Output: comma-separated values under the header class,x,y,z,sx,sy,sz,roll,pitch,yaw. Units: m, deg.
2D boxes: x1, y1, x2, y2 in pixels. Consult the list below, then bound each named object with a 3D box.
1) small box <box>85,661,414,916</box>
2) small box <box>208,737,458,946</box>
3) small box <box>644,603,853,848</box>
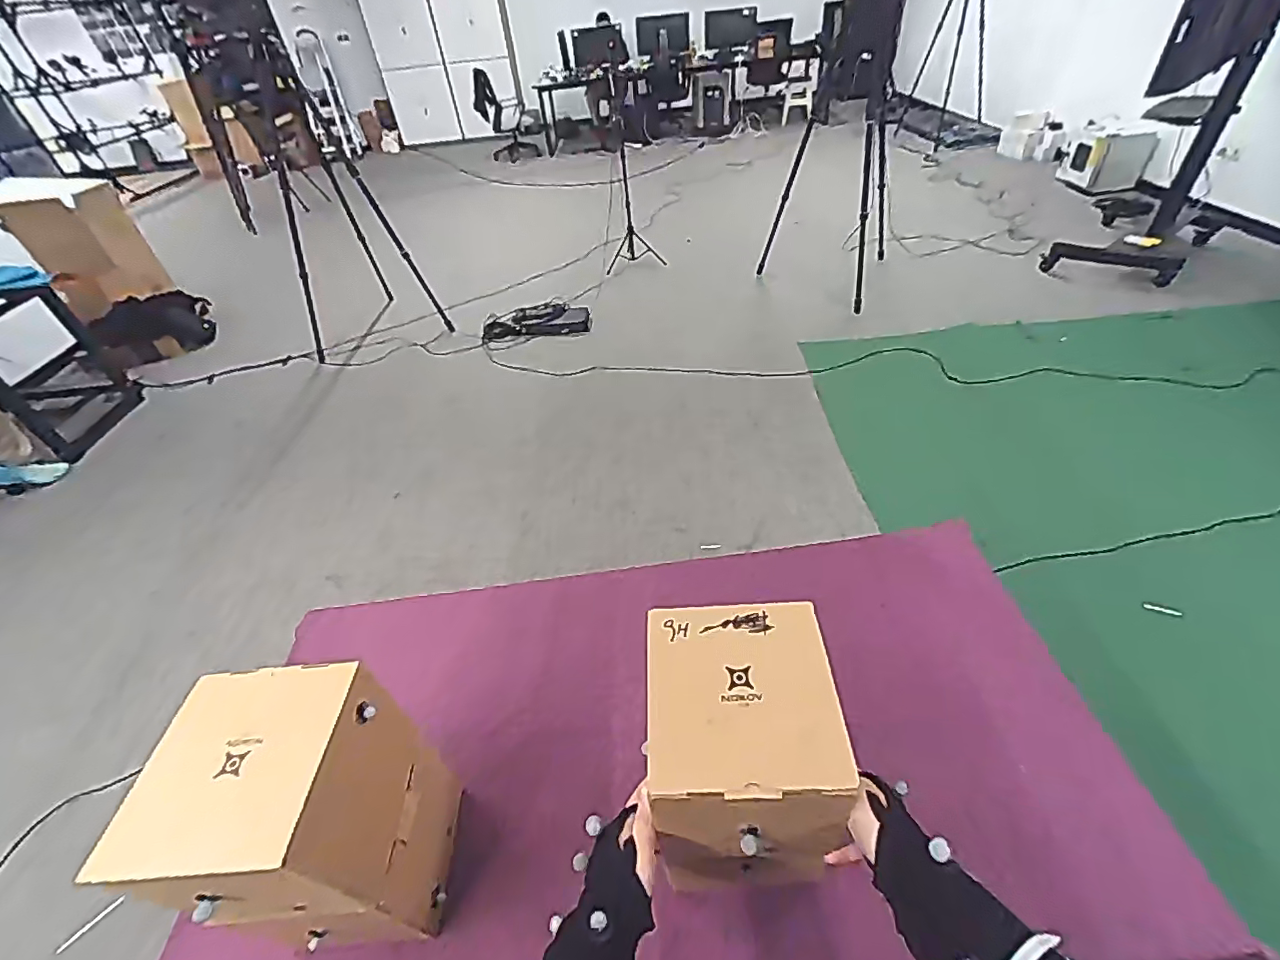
class,x,y,z,sx,sy,sz,roll,pitch,yaw
small box,-0.347,0.305,0.531,0.168,0.176,0.179,-6,41,2
small box,-0.335,0.426,0.638,0.179,0.176,0.168,-7,42,1
small box,0.095,0.245,0.533,0.168,0.176,0.179,-4,43,4
